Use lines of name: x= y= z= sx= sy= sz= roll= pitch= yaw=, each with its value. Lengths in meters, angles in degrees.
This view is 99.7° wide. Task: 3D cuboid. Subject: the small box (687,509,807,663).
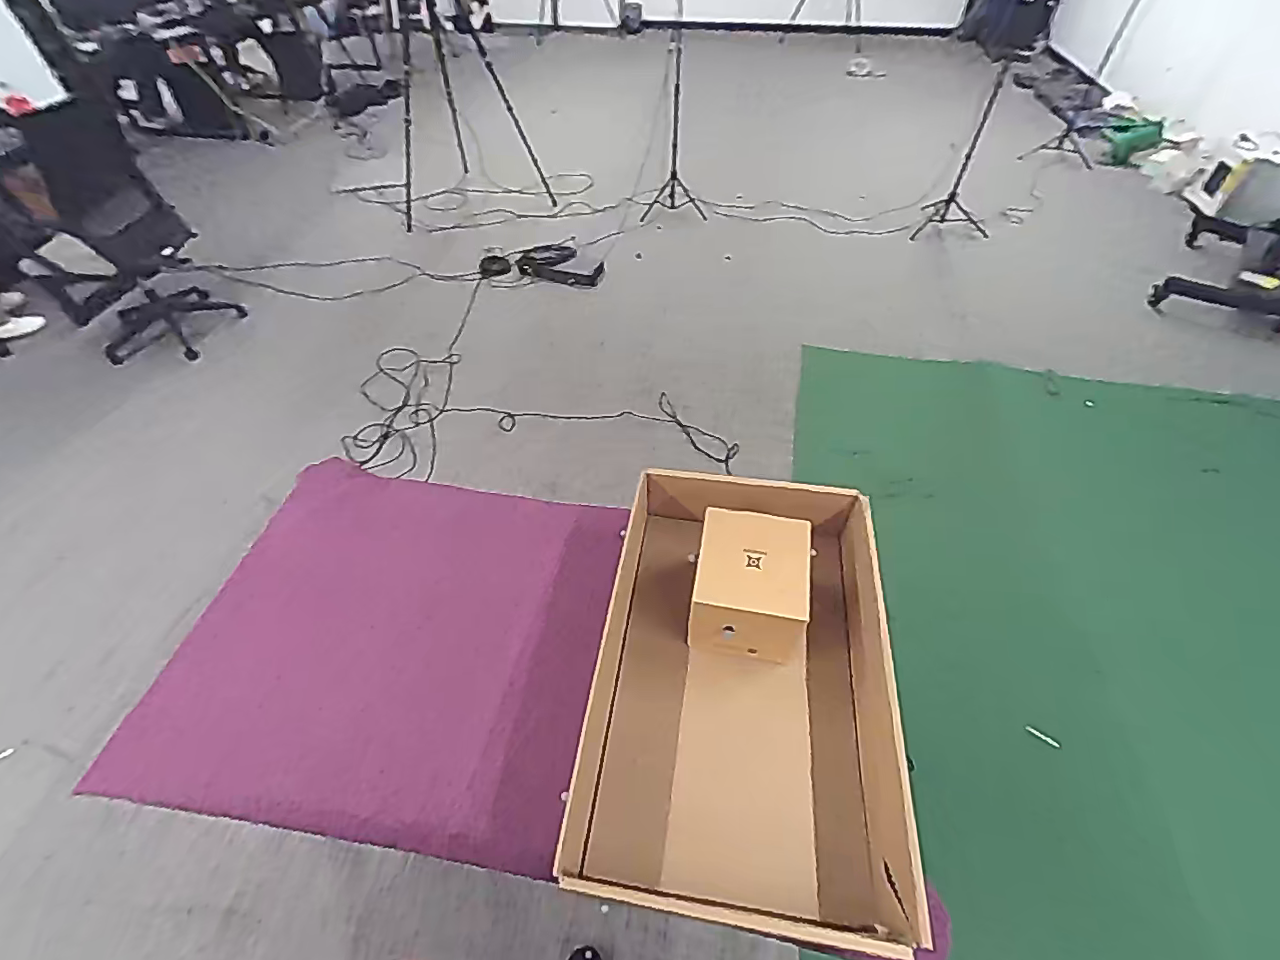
small box: x=0.170 y=0.174 z=0.873 sx=0.168 sy=0.176 sz=0.179 roll=8 pitch=50 yaw=9
